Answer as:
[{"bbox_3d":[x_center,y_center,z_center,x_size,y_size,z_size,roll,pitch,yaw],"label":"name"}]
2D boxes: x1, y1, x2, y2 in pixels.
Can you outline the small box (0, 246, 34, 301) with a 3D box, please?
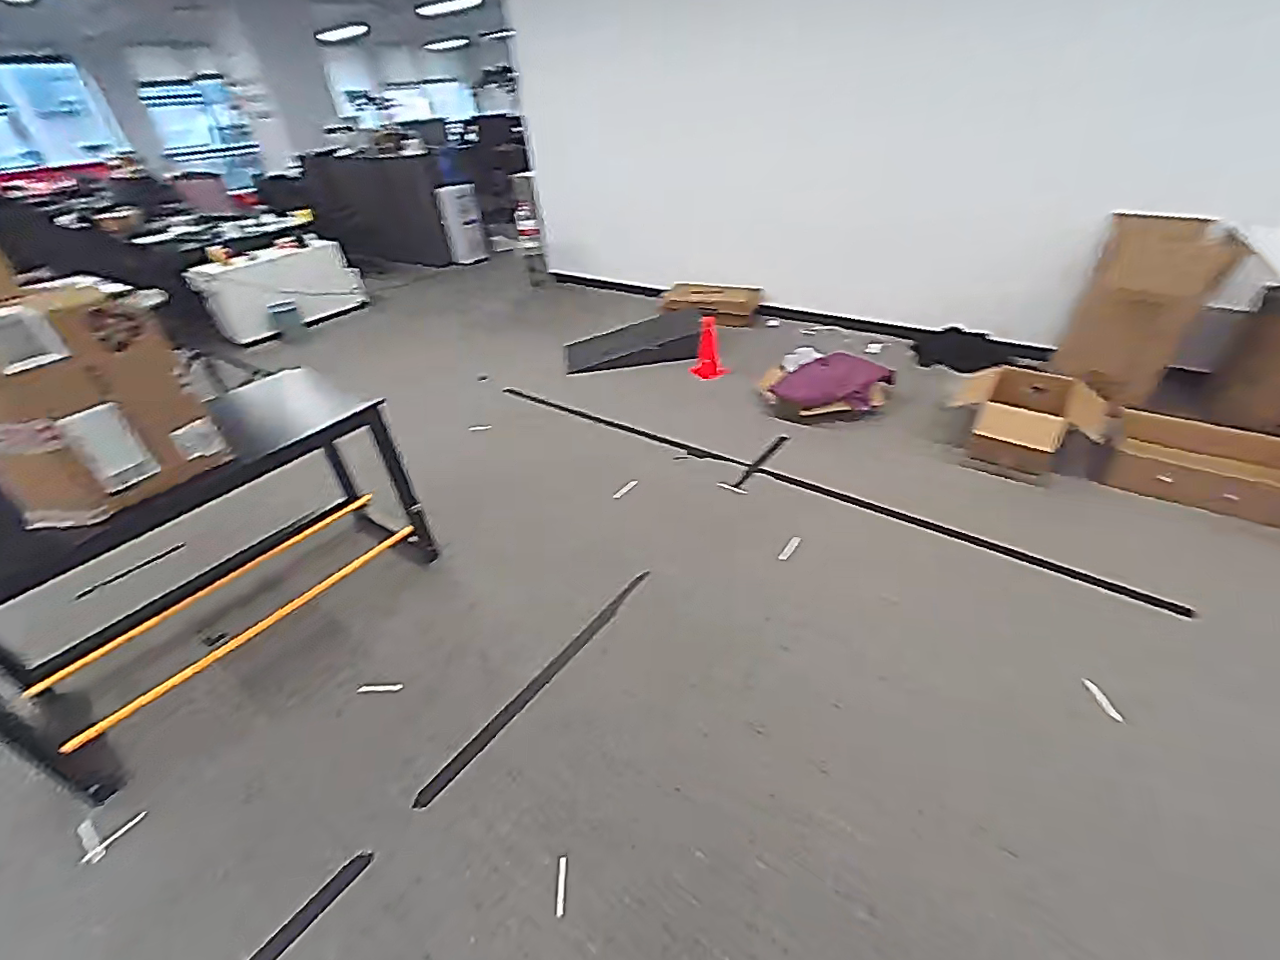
[{"bbox_3d":[-1.578,-0.492,1.240,0.168,0.176,0.179,16,40,30],"label":"small box"}]
